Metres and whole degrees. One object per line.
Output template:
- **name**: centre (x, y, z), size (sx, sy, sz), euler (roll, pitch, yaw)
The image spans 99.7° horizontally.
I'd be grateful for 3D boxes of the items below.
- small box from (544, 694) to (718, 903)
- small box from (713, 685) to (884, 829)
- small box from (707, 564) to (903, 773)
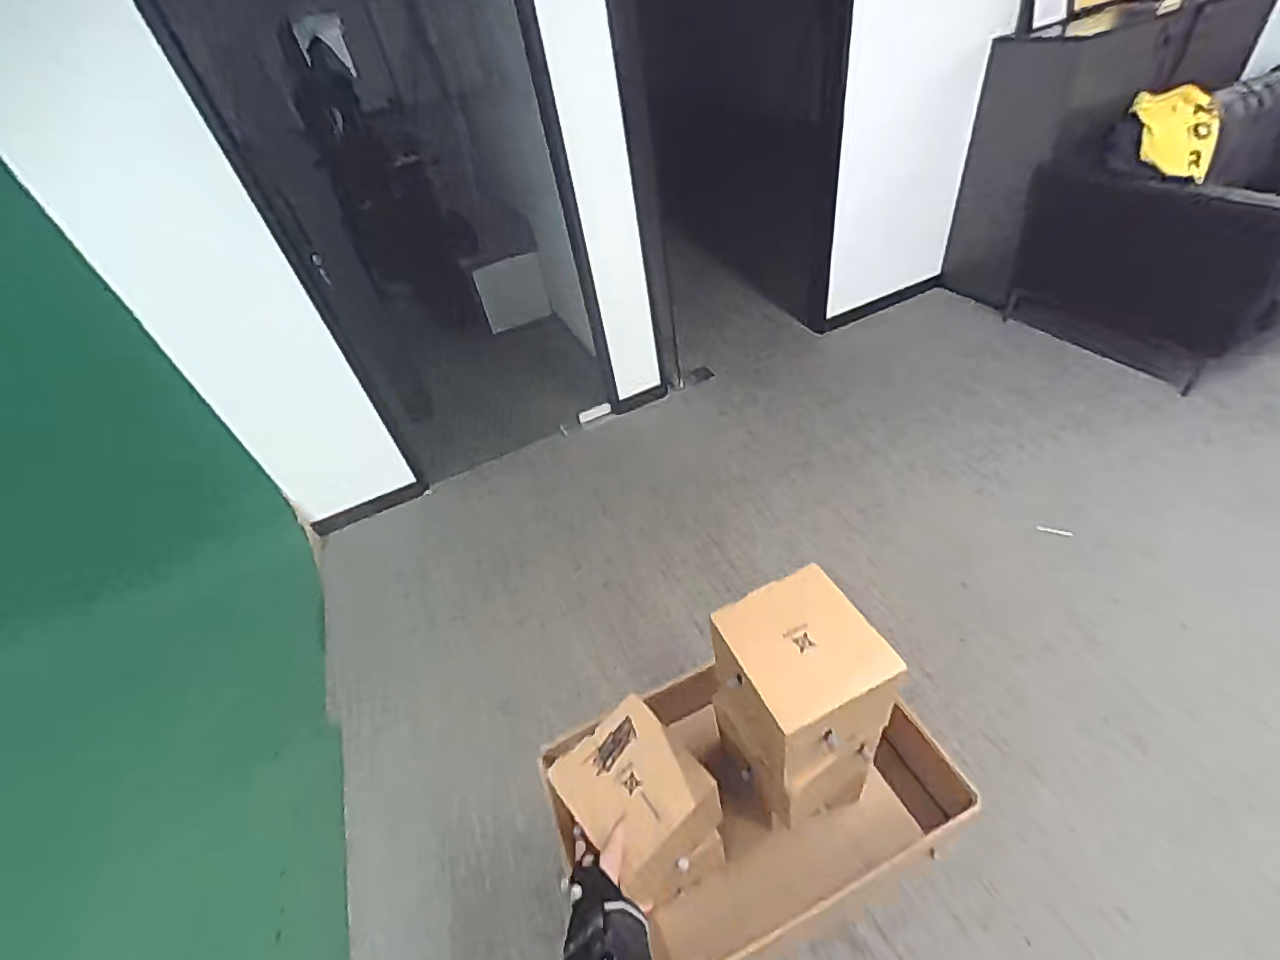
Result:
- **small box**: centre (-0.007, 0.454, 0.773), size (0.168, 0.176, 0.179), euler (-36, 48, -23)
- **small box**: centre (0.228, 0.373, 0.808), size (0.179, 0.176, 0.168), euler (-29, 44, -16)
- **small box**: centre (0.206, 0.250, 0.705), size (0.168, 0.176, 0.179), euler (-24, 43, -10)
